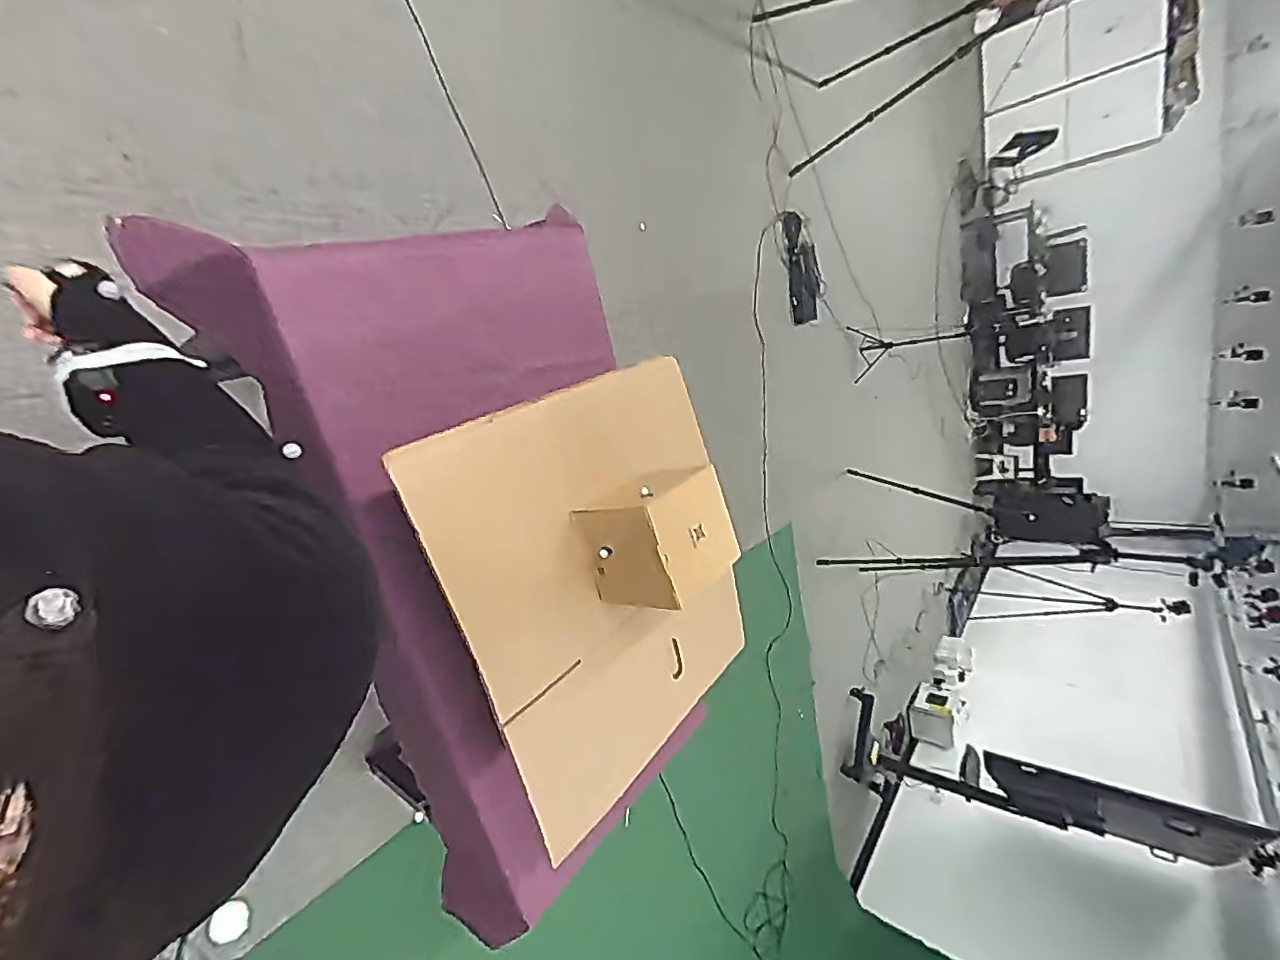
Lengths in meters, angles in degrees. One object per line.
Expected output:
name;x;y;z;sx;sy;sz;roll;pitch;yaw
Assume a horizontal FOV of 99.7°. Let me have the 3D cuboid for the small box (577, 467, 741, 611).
small box;0.031;0.088;0.871;0.179;0.176;0.168;-30;106;-42
